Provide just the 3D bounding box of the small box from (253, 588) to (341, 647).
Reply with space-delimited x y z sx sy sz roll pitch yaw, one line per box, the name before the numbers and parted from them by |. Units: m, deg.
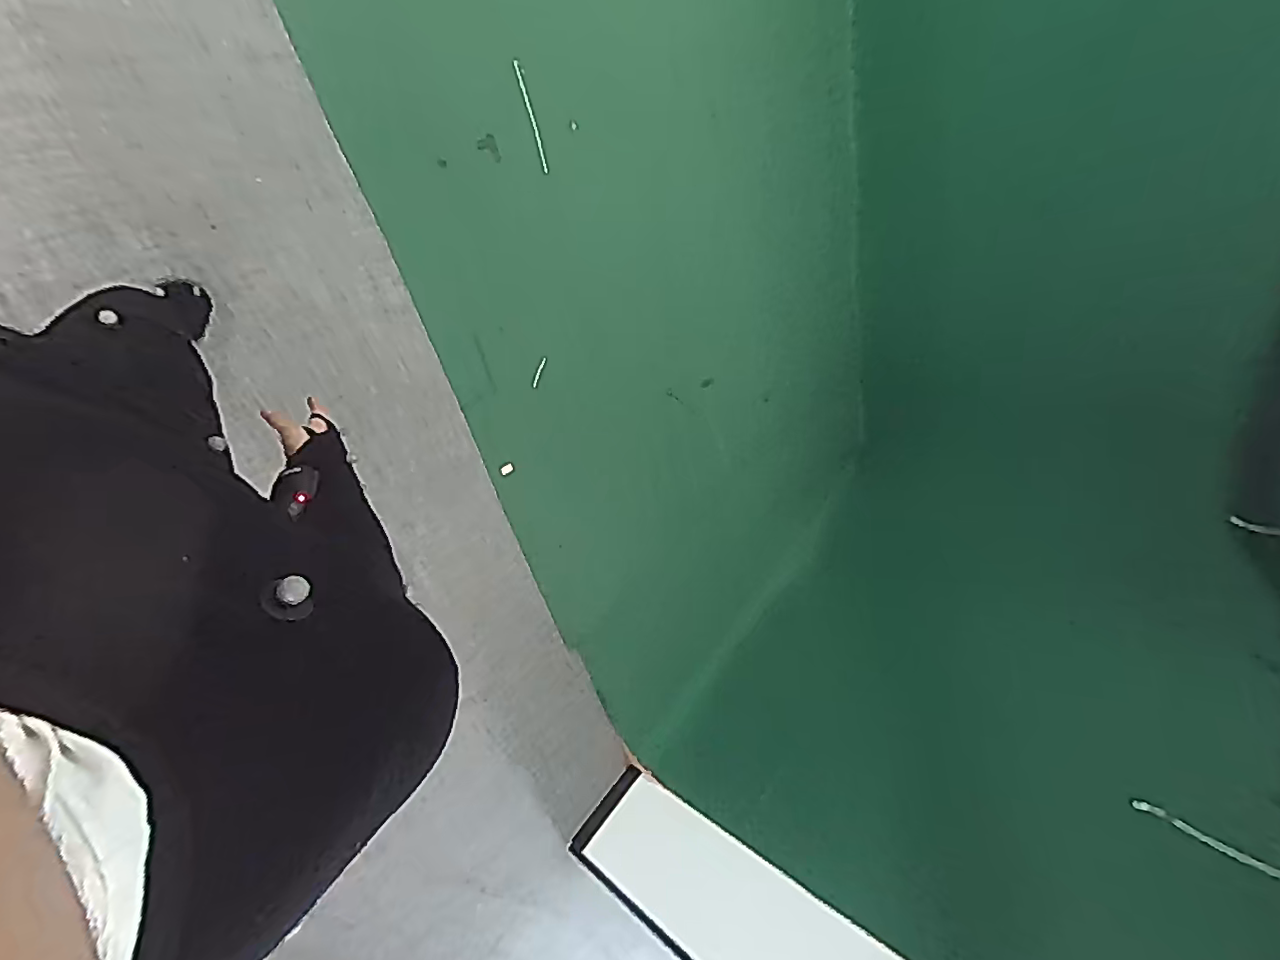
small box | -0.880 0.408 1.430 0.168 0.176 0.179 -37 126 -35
